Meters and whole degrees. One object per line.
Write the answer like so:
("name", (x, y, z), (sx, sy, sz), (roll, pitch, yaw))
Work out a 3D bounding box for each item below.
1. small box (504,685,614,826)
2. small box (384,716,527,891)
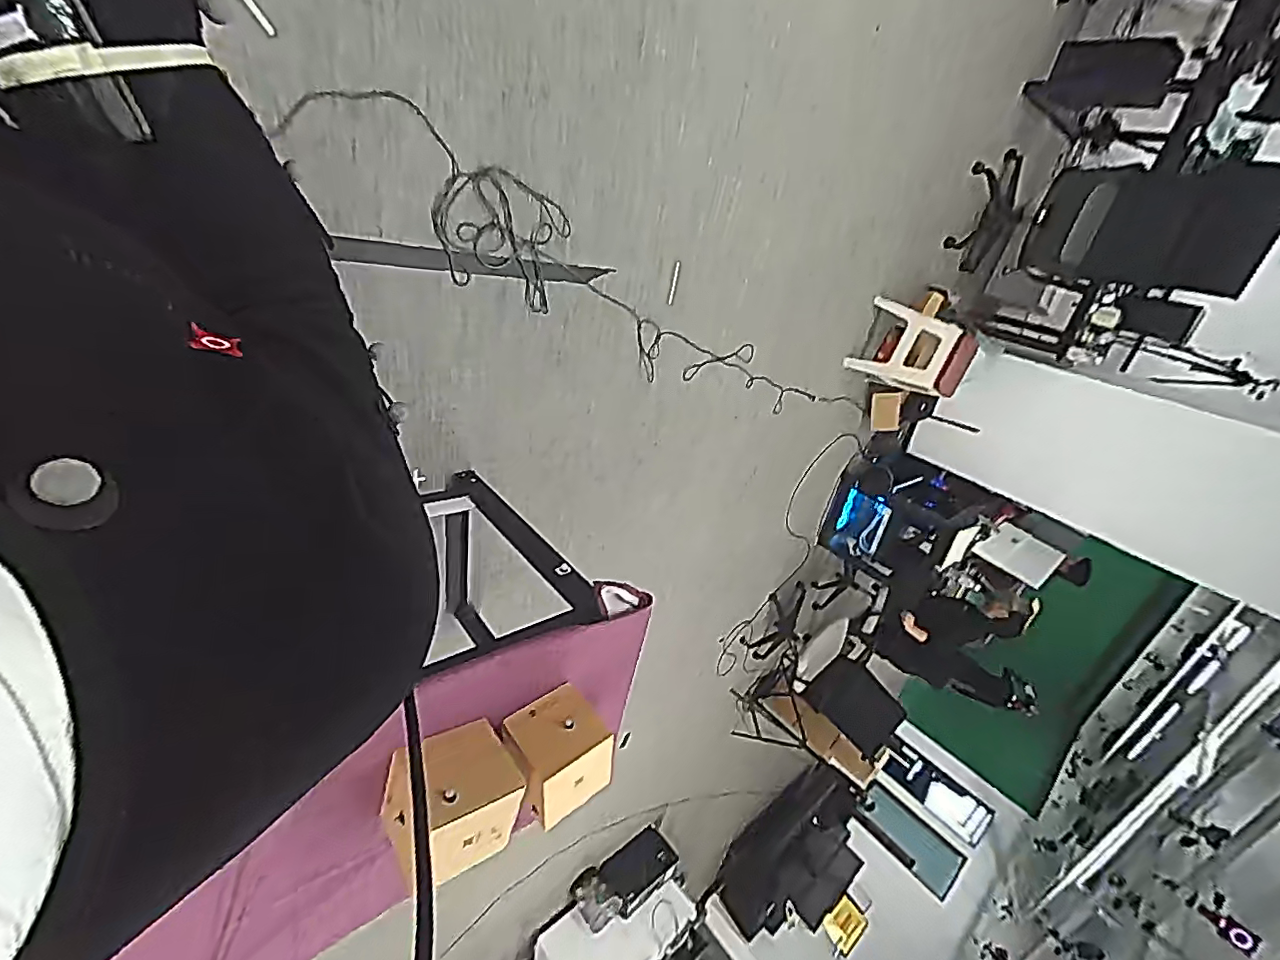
("small box", (-0.172, 0.559, 1.130), (0.168, 0.176, 0.179), (-21, 130, -35))
("small box", (-0.334, 0.562, 0.964), (0.179, 0.176, 0.168), (-2, 119, -45))
